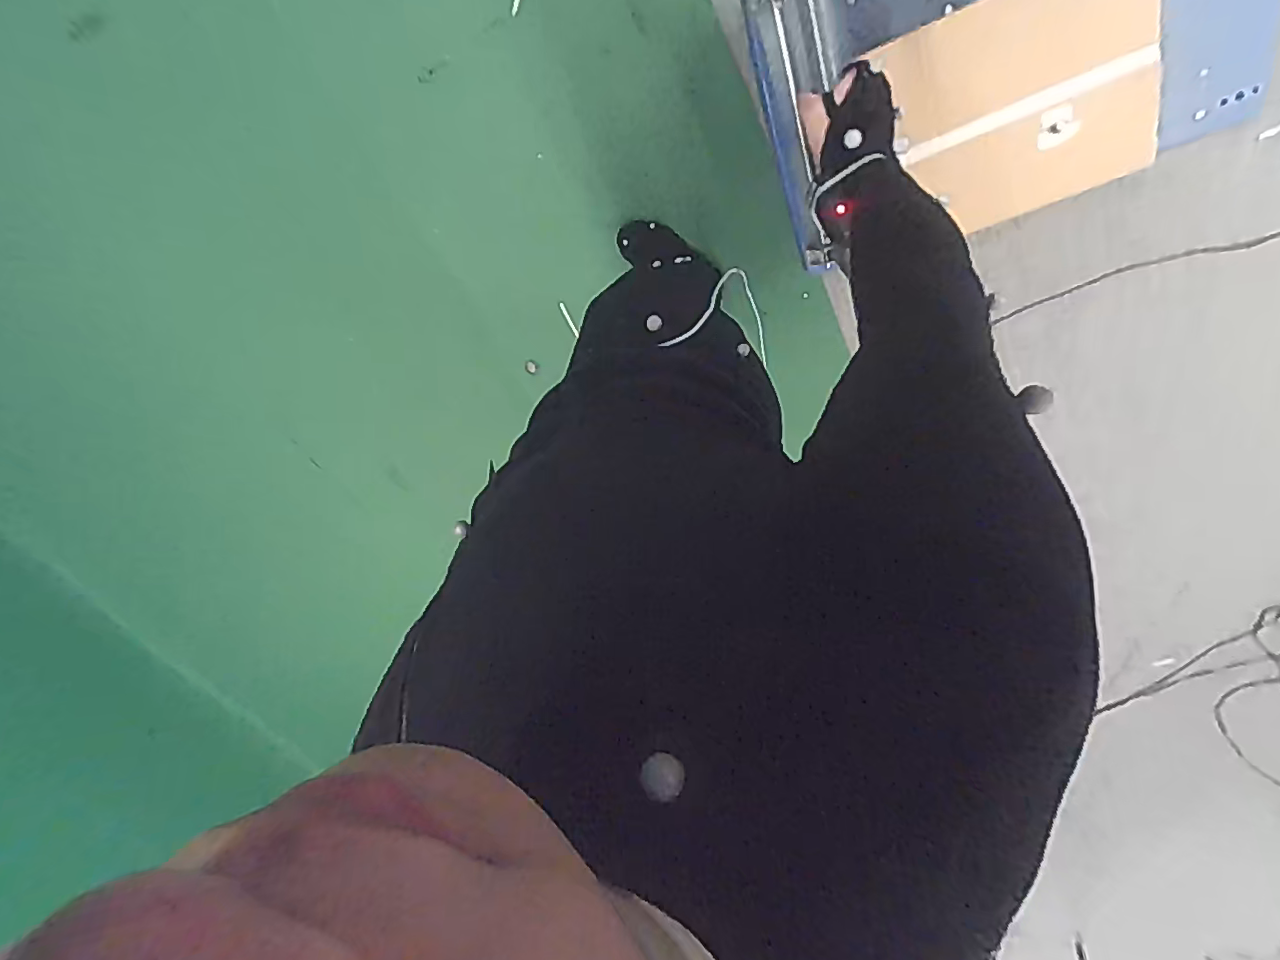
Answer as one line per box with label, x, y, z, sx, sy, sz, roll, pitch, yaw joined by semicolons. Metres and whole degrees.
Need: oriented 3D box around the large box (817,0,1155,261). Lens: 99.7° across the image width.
large box;0.580;-0.642;0.972;0.408;0.320;0.320;-17;118;15
